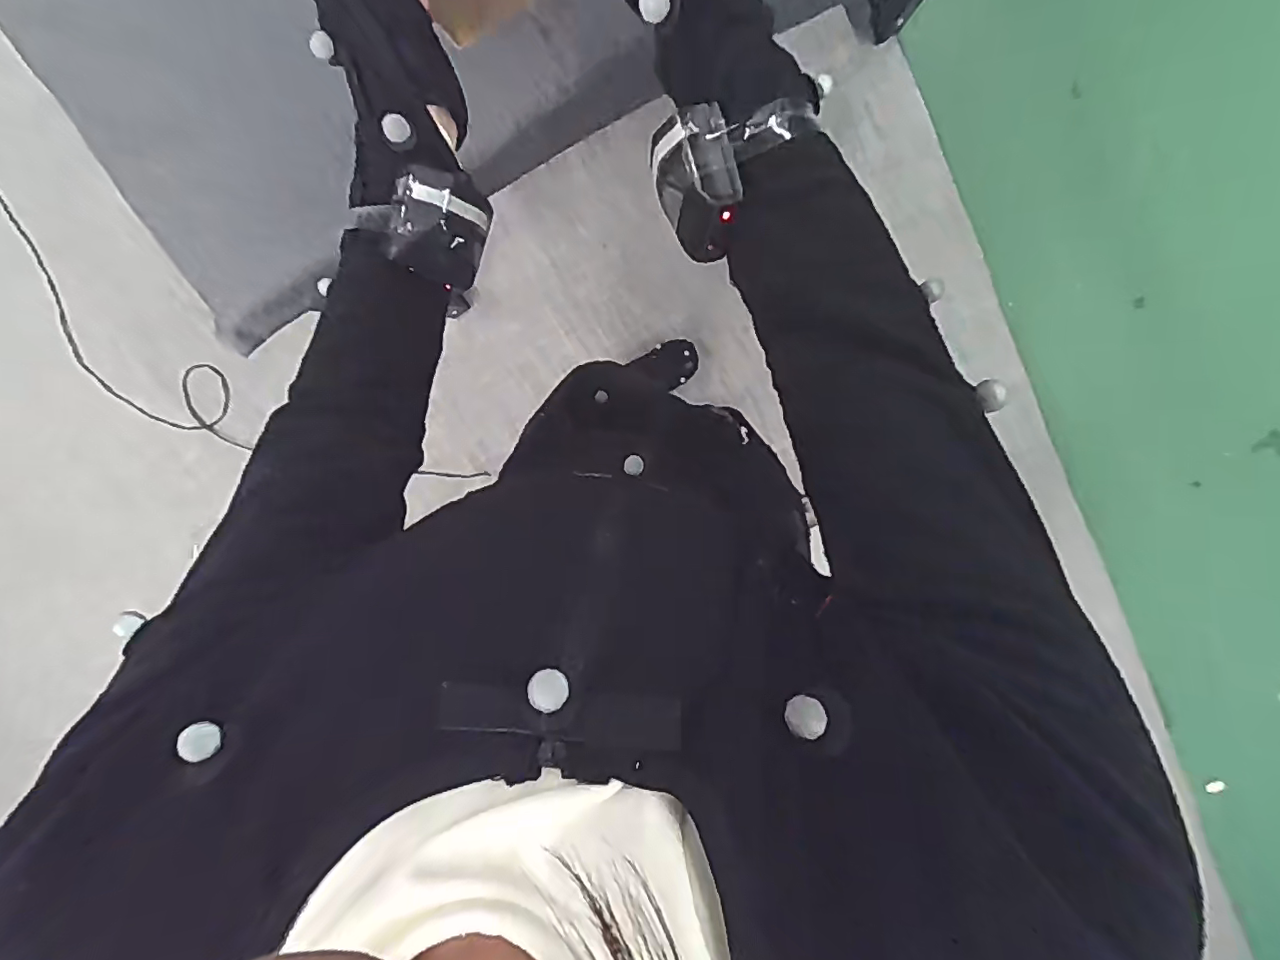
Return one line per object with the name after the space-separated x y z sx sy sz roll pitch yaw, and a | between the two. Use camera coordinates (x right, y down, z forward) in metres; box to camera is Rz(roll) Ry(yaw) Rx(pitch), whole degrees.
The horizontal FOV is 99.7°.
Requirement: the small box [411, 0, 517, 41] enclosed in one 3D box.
-0.133 -0.455 0.363 0.179 0.176 0.168 -25 105 16 | small box
